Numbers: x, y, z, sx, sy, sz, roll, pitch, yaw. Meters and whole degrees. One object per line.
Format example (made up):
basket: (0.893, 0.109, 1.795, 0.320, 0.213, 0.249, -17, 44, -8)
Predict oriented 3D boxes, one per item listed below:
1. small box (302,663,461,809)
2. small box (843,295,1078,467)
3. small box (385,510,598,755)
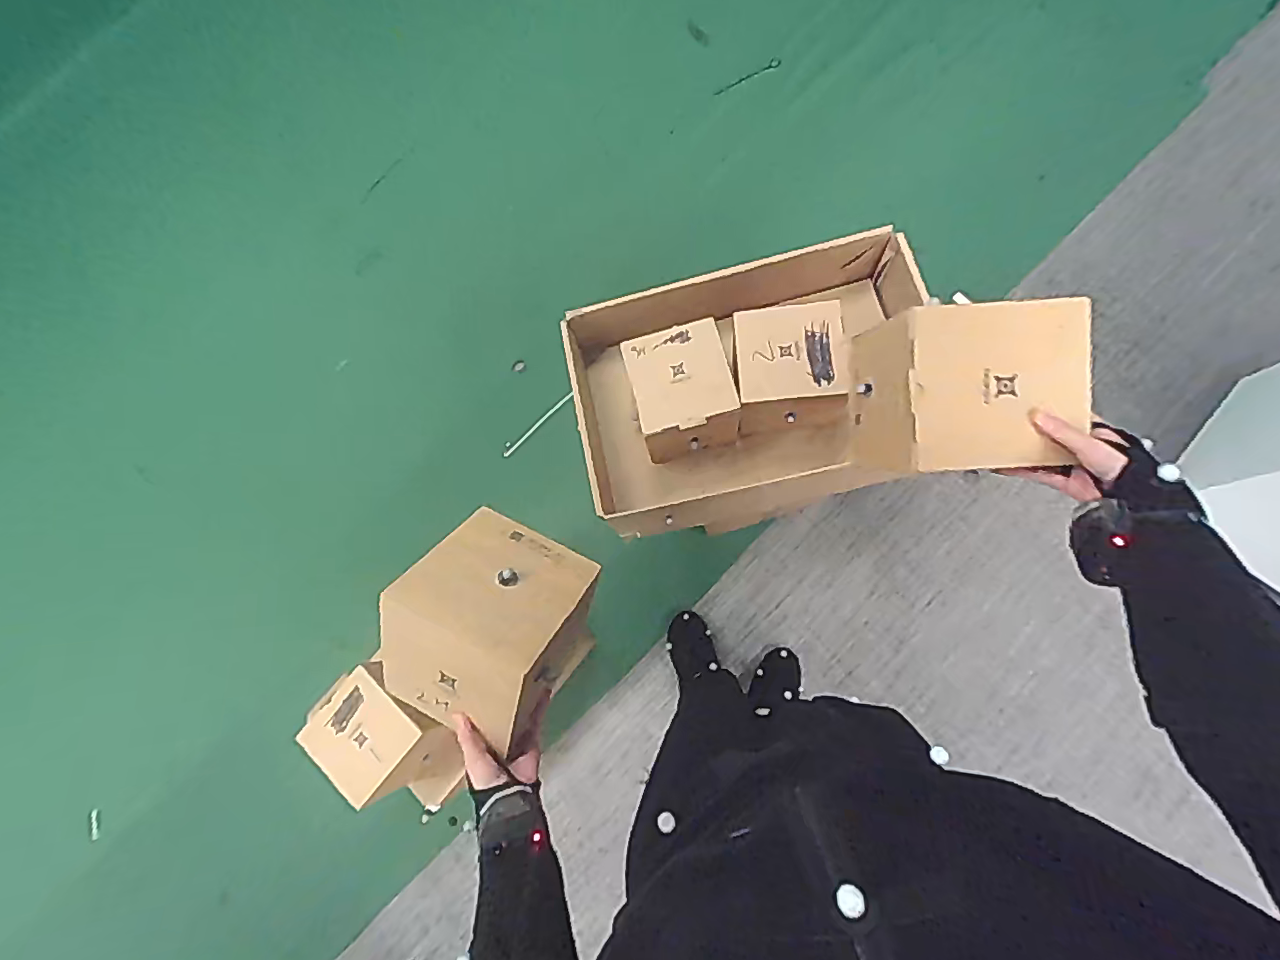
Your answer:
small box: (-0.468, 0.461, 1.010, 0.179, 0.176, 0.168, 39, 84, 15)
small box: (0.350, -0.103, 0.619, 0.179, 0.176, 0.168, -3, 92, 2)
small box: (-0.165, 0.165, 0.622, 0.168, 0.179, 0.176, 26, 37, 10)
